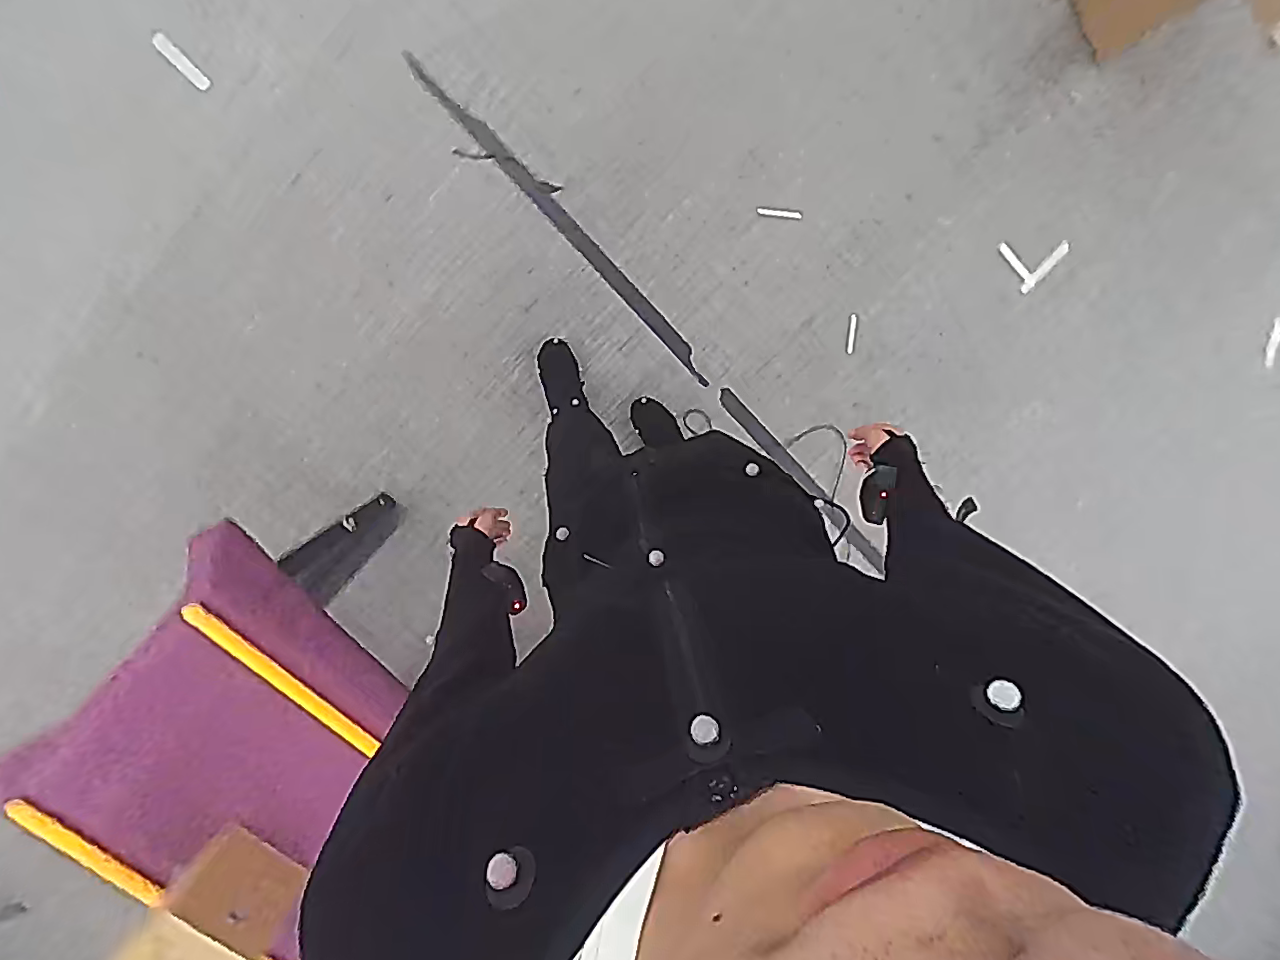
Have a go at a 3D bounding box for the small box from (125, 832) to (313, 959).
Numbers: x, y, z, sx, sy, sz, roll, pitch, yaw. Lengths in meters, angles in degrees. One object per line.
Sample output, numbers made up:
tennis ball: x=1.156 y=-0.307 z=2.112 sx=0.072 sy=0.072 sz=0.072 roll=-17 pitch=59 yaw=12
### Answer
small box: x=-0.722 y=0.767 z=0.941 sx=0.168 sy=0.176 sz=0.179 roll=-45 pitch=101 yaw=5

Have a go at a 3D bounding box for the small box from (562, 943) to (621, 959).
small box: x=-0.099 y=1.046 z=1.037 sx=0.168 sy=0.176 sz=0.179 roll=-40 pitch=102 yaw=6
